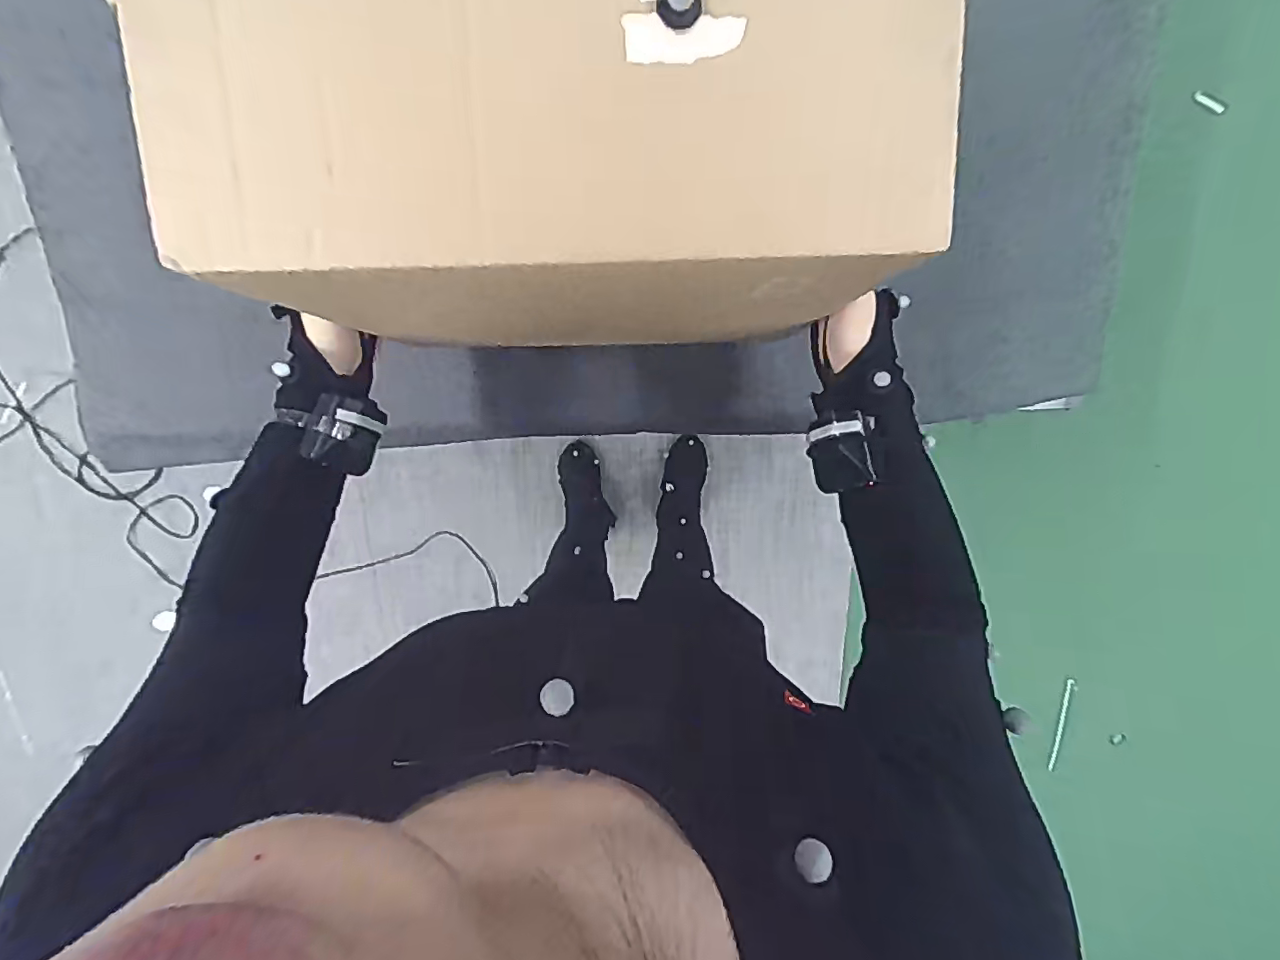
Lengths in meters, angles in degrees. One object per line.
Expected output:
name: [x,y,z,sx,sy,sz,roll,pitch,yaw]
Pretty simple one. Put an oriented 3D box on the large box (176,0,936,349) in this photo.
large box: [-0.046,-0.288,0.430,0.408,0.320,0.320,-2,97,-1]
